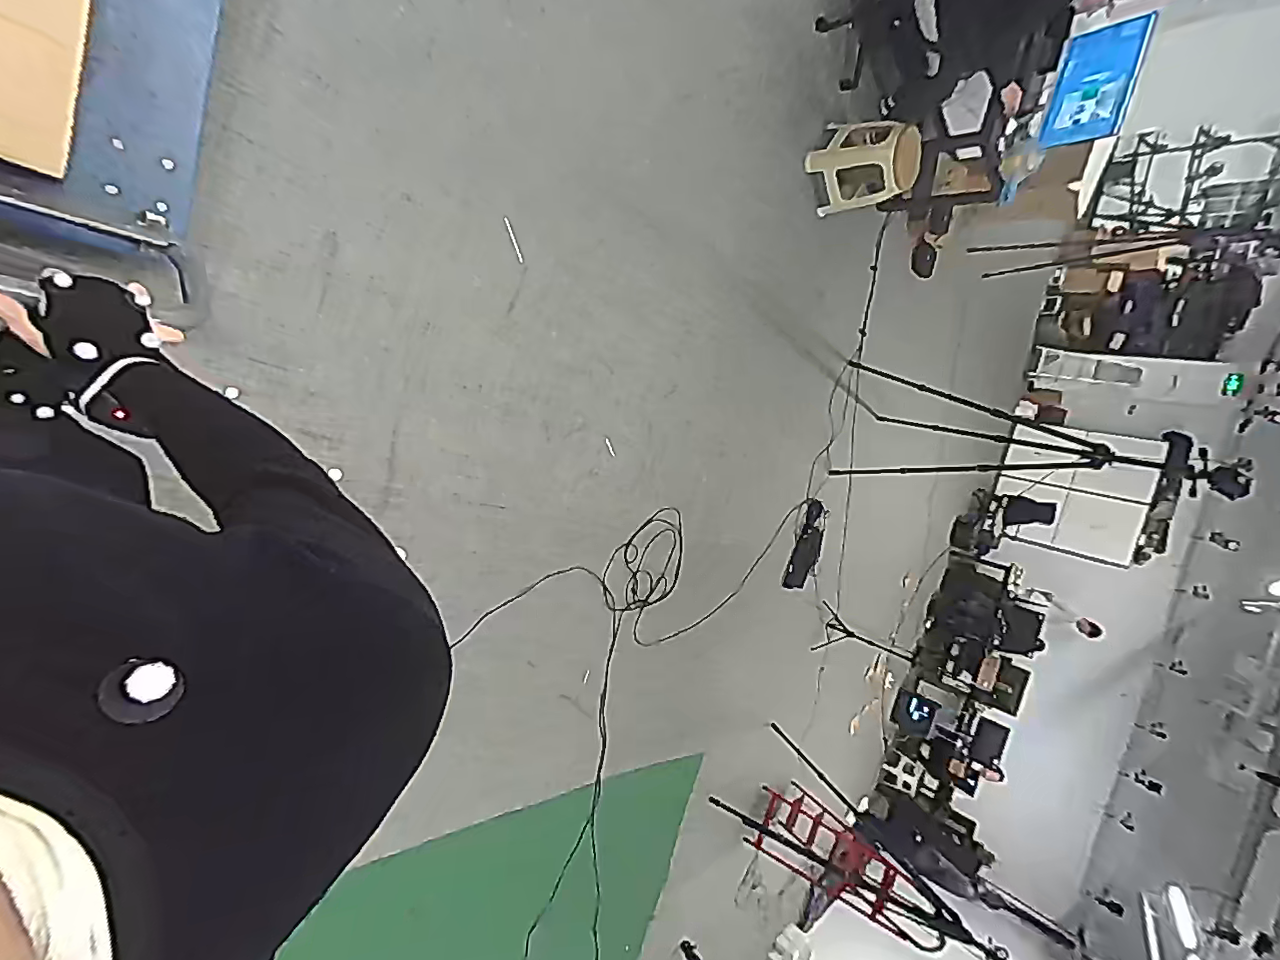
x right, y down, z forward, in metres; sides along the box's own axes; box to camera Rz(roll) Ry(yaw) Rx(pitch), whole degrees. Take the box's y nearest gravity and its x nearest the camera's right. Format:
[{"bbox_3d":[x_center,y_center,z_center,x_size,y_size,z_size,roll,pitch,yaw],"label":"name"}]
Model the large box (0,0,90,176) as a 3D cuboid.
[{"bbox_3d":[-0.947,-0.675,0.705,0.320,0.320,0.408,7,105,-48],"label":"large box"}]
